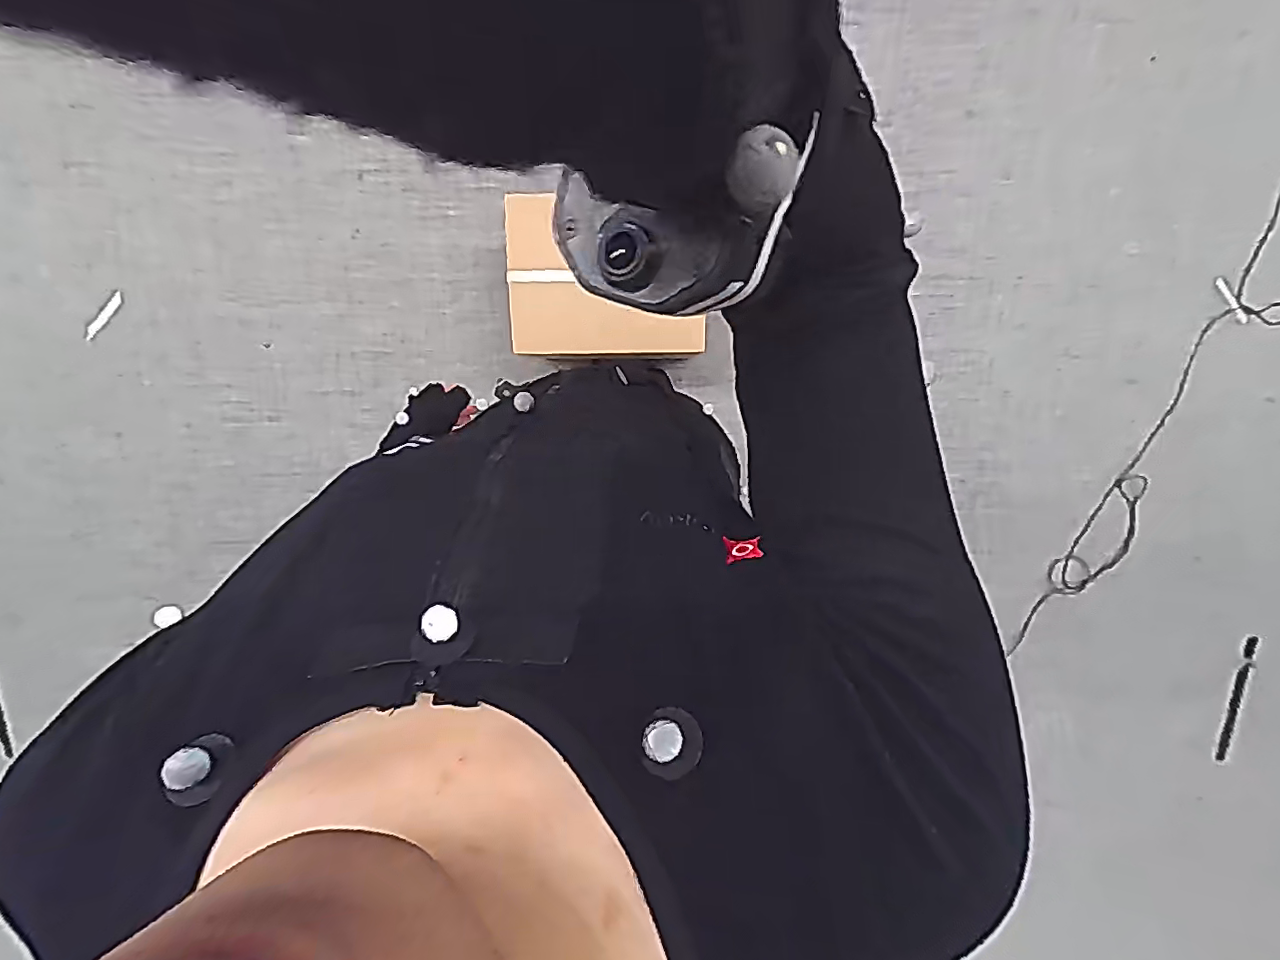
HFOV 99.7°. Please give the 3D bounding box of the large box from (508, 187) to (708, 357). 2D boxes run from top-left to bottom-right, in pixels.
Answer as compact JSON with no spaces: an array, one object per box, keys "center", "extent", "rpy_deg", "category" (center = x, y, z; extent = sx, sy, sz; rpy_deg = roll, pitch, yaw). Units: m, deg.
[{"center":[-0.063,-0.453,1.247],"extent":[0.408,0.320,0.320],"rpy_deg":[-1,101,0],"category":"large box"}]
